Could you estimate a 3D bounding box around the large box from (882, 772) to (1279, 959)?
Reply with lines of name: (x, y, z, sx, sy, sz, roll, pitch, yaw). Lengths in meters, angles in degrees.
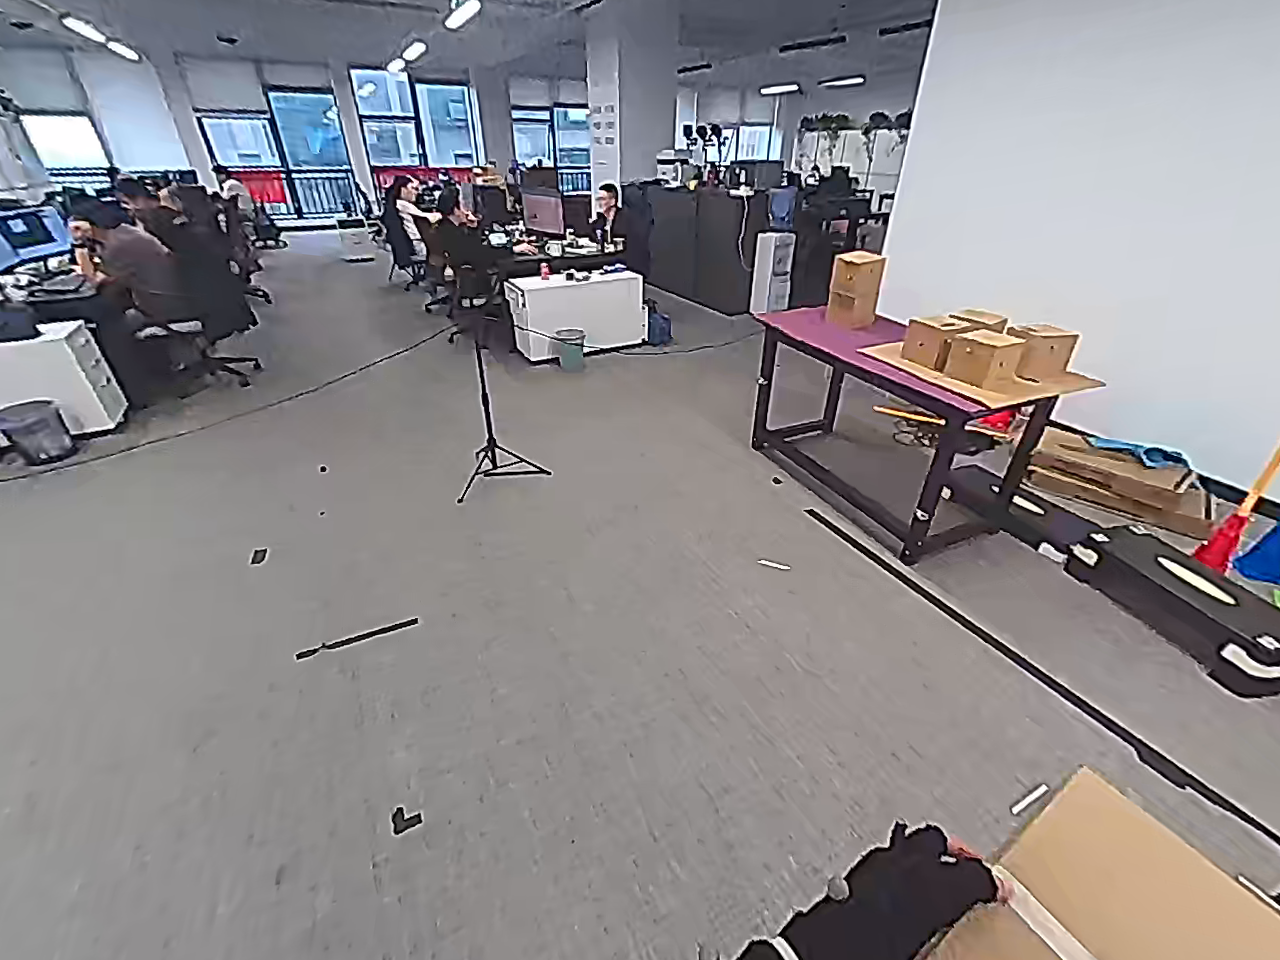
large box: (0.396, 0.543, 0.413, 0.320, 0.320, 0.408, -23, 43, -25)
